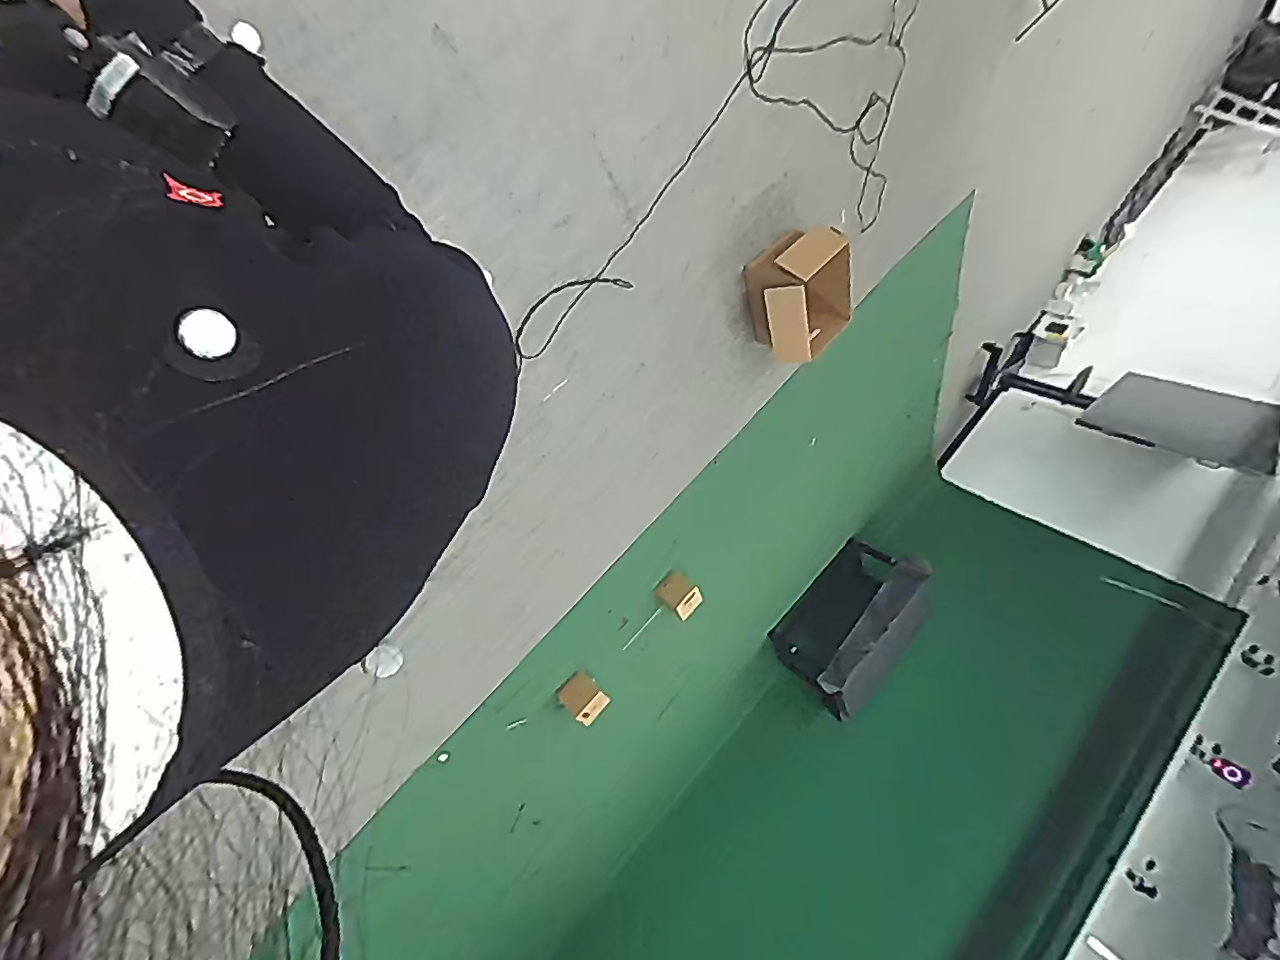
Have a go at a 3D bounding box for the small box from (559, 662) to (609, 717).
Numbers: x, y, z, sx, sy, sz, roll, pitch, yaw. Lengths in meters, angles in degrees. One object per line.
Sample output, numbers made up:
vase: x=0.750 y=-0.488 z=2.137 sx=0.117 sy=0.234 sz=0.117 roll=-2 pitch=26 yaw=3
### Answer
small box: x=-0.301 y=1.093 z=2.824 sx=0.179 sy=0.176 sz=0.168 roll=-45 pitch=142 yaw=-15
